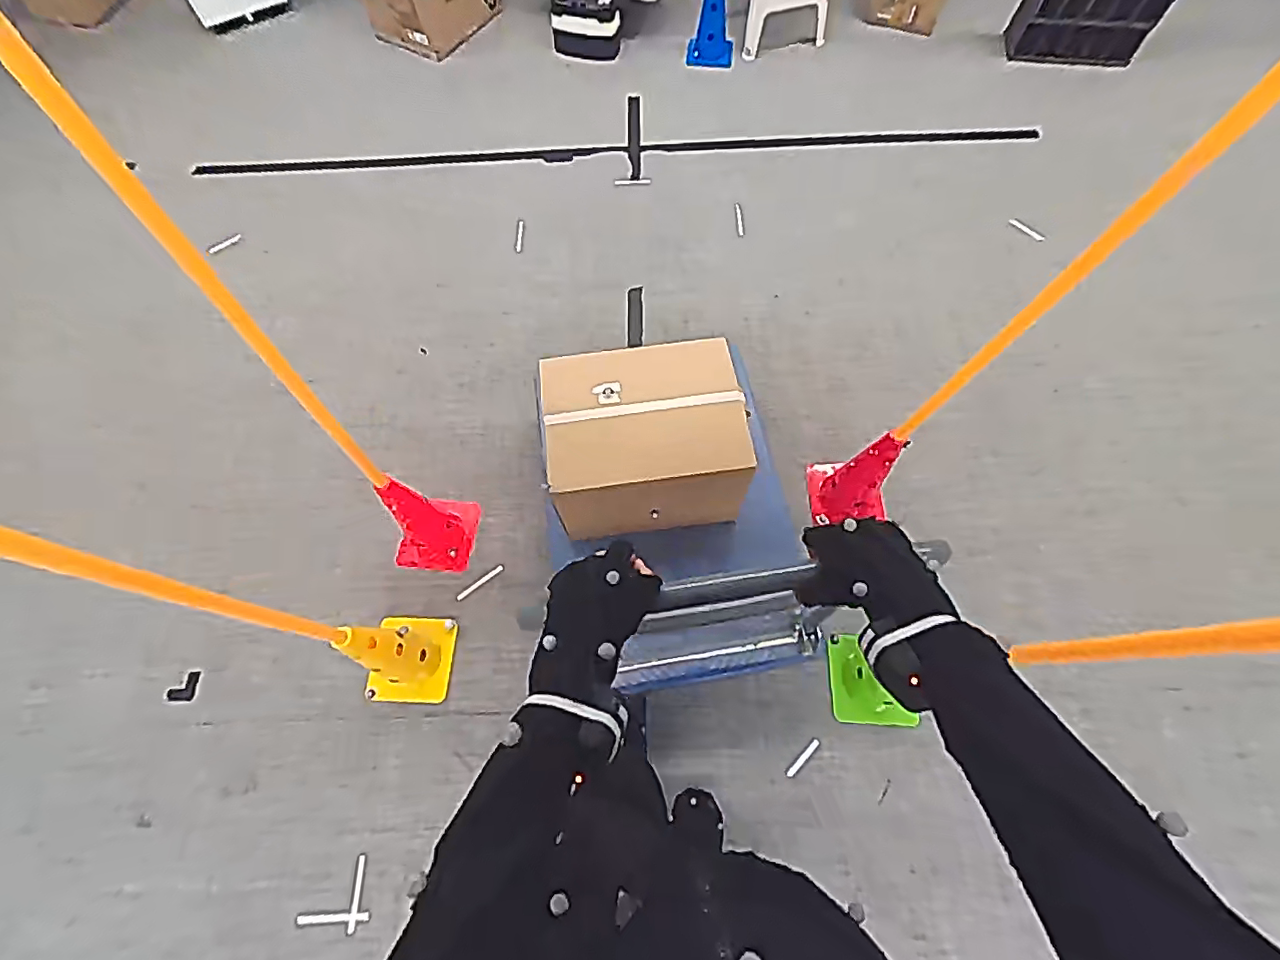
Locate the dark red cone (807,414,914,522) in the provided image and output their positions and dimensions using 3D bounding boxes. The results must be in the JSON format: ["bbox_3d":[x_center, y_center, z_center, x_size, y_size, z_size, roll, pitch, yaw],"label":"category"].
[{"bbox_3d":[0.572,-0.043,1.343,0.201,0.394,0.202,-1,66,-1],"label":"dark red cone"}]

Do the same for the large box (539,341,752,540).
[{"bbox_3d":[0.008,-0.075,1.237,0.408,0.320,0.320,-8,66,-1],"label":"large box"}]

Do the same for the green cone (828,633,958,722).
[{"bbox_3d":[0.564,0.406,1.158,0.202,0.368,0.200,2,66,1],"label":"green cone"}]

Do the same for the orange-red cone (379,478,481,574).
[{"bbox_3d":[-0.555,0.083,1.344,0.198,0.360,0.199,5,64,3],"label":"orange-red cone"}]
